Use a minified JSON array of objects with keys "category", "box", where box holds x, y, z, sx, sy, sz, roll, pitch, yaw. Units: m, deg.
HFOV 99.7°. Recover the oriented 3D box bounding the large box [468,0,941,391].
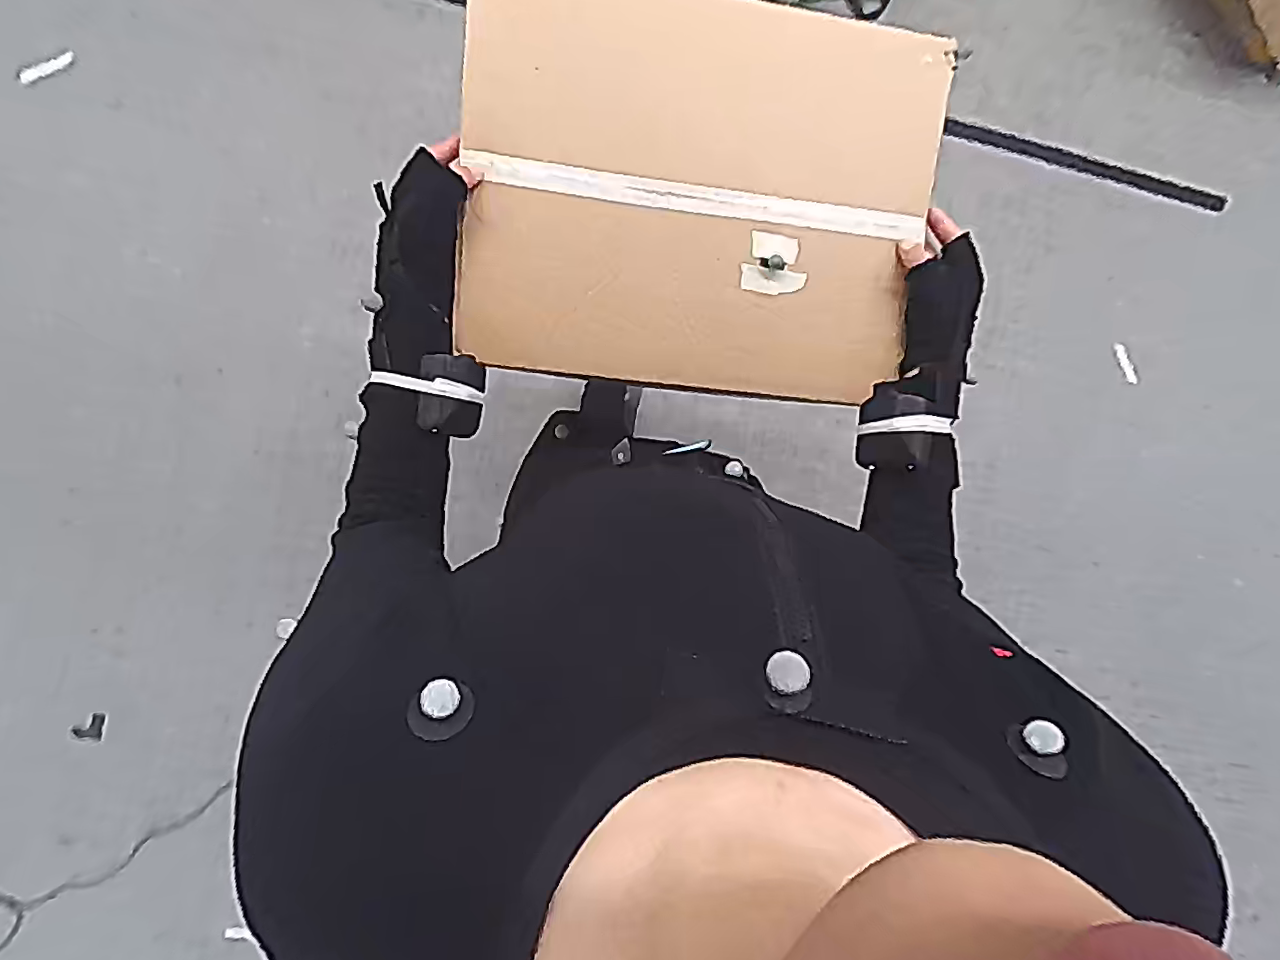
[{"category":"large box","box":[0.038,-0.275,0.620,0.408,0.320,0.320,5,100,-8]}]
